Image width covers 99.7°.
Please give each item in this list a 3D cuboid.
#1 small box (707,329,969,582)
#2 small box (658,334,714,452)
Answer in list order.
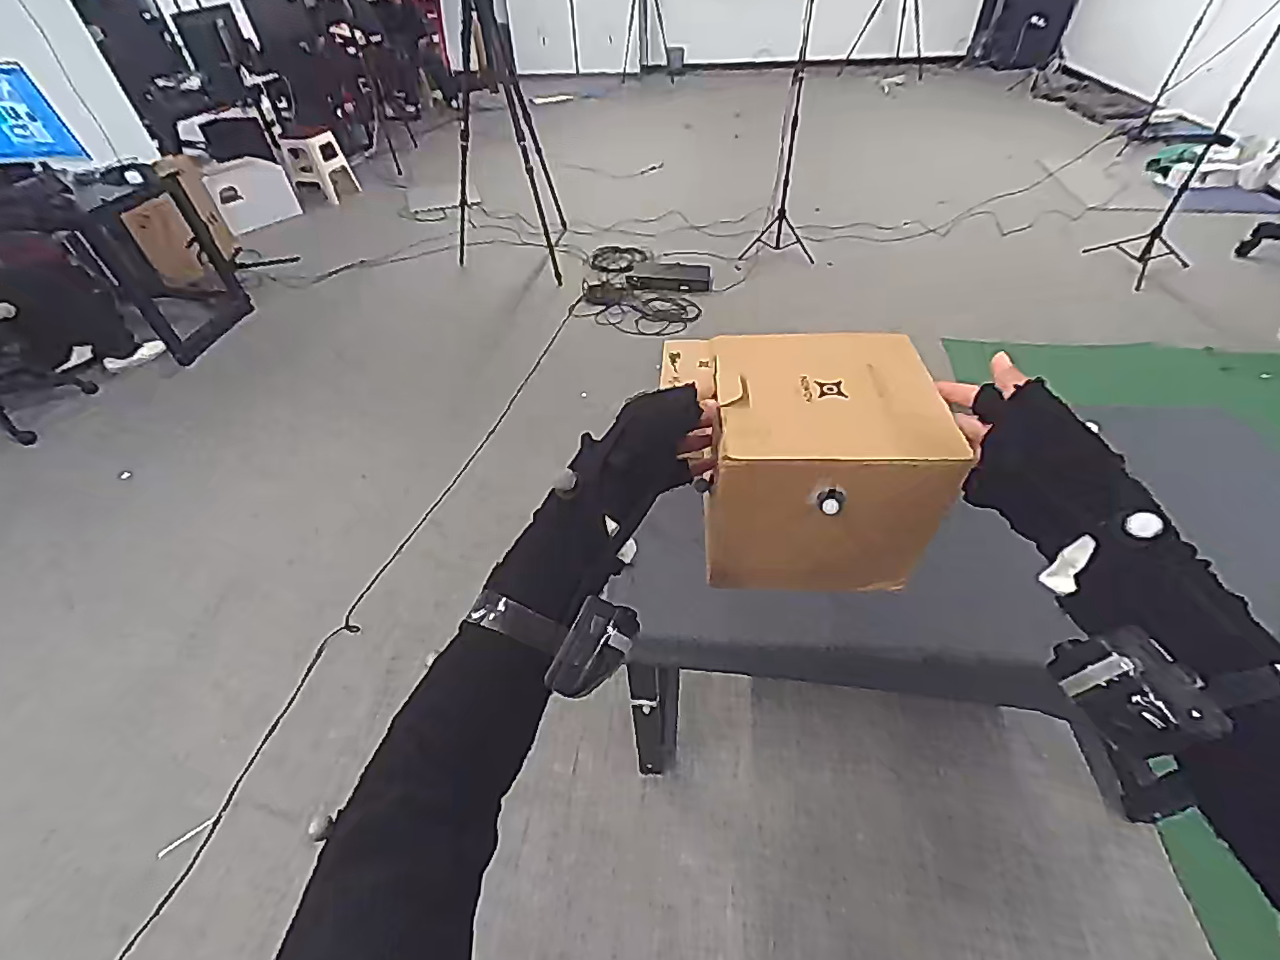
[{"bbox_3d":[0.152,-0.020,0.493,0.179,0.176,0.168,1,47,3],"label":"small box"},{"bbox_3d":[0.130,-0.168,1.072,0.179,0.176,0.168,3,47,5],"label":"small box"}]
